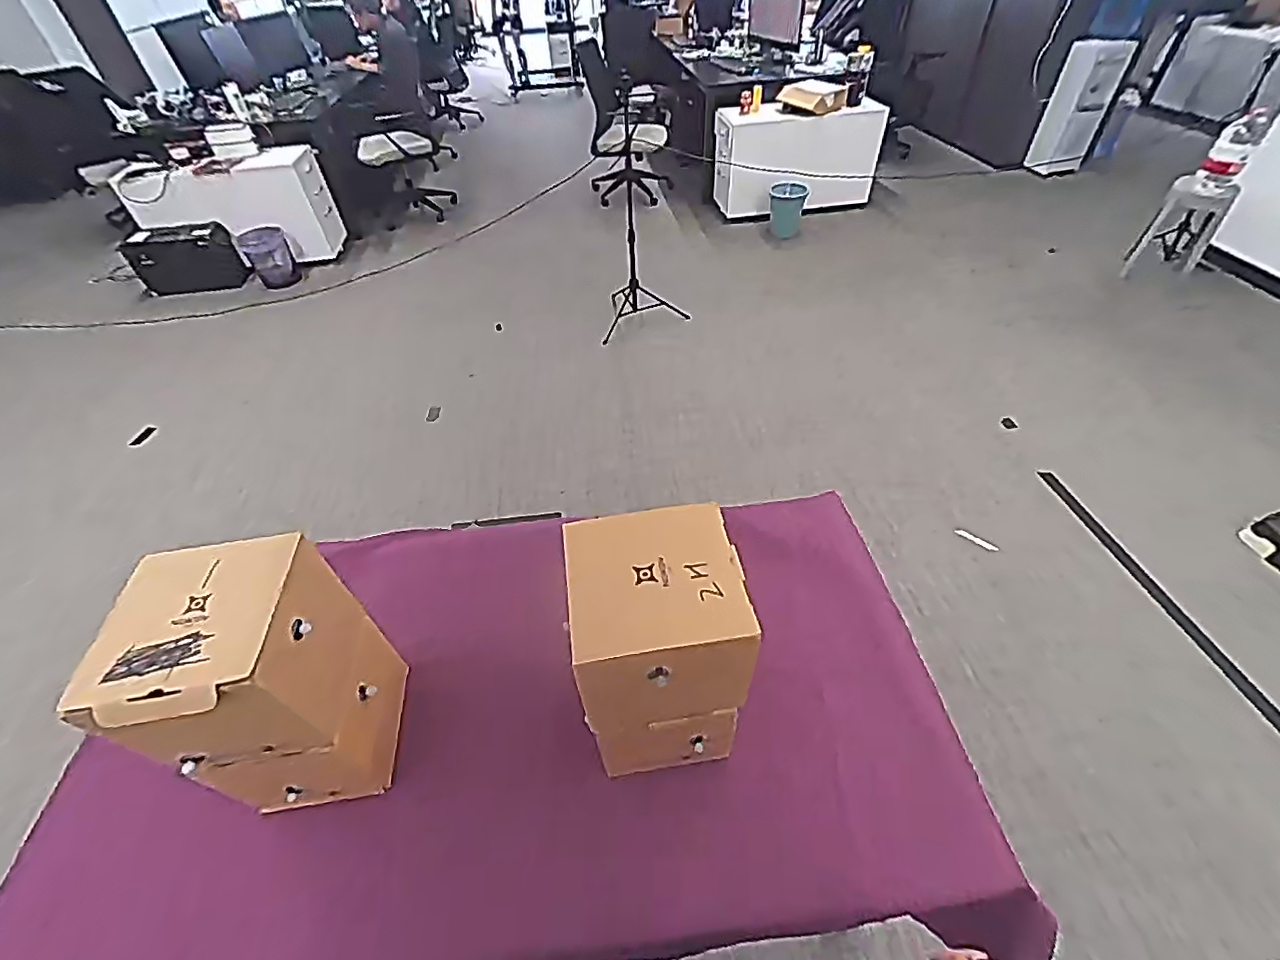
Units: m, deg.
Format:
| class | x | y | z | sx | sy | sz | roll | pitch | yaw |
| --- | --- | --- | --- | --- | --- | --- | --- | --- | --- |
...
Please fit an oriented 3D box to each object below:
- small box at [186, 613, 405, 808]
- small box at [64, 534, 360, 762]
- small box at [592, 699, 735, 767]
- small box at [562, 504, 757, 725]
| class | x | y | z | sx | sy | sz | roll | pitch | yaw |
| --- | --- | --- | --- | --- | --- | --- | --- | --- | --- |
| small box | -0.425 | 0.302 | 0.709 | 0.168 | 0.176 | 0.179 | -8 | 47 | -4 |
| small box | -0.433 | 0.188 | 0.591 | 0.168 | 0.176 | 0.179 | -8 | 46 | -5 |
| small box | 0.023 | 0.262 | 0.717 | 0.168 | 0.176 | 0.179 | -7 | 46 | -4 |
| small box | 0.015 | 0.151 | 0.596 | 0.179 | 0.176 | 0.168 | -8 | 47 | -5 |
